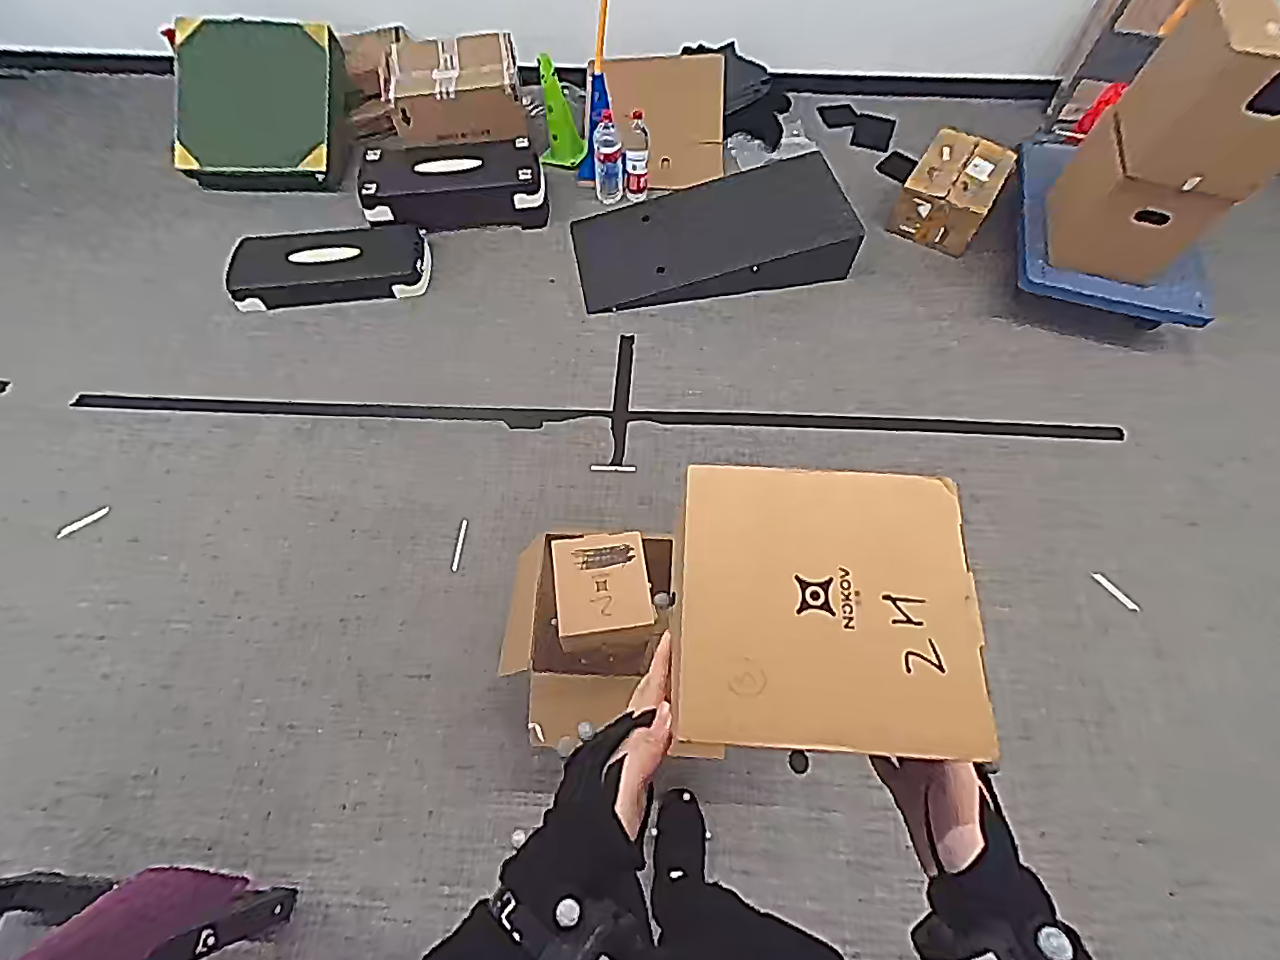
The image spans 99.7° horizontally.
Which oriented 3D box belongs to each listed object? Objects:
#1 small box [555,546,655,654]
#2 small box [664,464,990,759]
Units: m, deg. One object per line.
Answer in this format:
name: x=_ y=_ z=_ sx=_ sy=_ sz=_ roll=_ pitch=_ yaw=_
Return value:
small box: x=-0.078 y=0.267 z=1.182 sx=0.179 sy=0.176 sz=0.168 roll=-15 pitch=66 yaw=-12
small box: x=0.109 y=0.098 z=0.396 sx=0.179 sy=0.176 sz=0.168 roll=4 pitch=69 yaw=2
